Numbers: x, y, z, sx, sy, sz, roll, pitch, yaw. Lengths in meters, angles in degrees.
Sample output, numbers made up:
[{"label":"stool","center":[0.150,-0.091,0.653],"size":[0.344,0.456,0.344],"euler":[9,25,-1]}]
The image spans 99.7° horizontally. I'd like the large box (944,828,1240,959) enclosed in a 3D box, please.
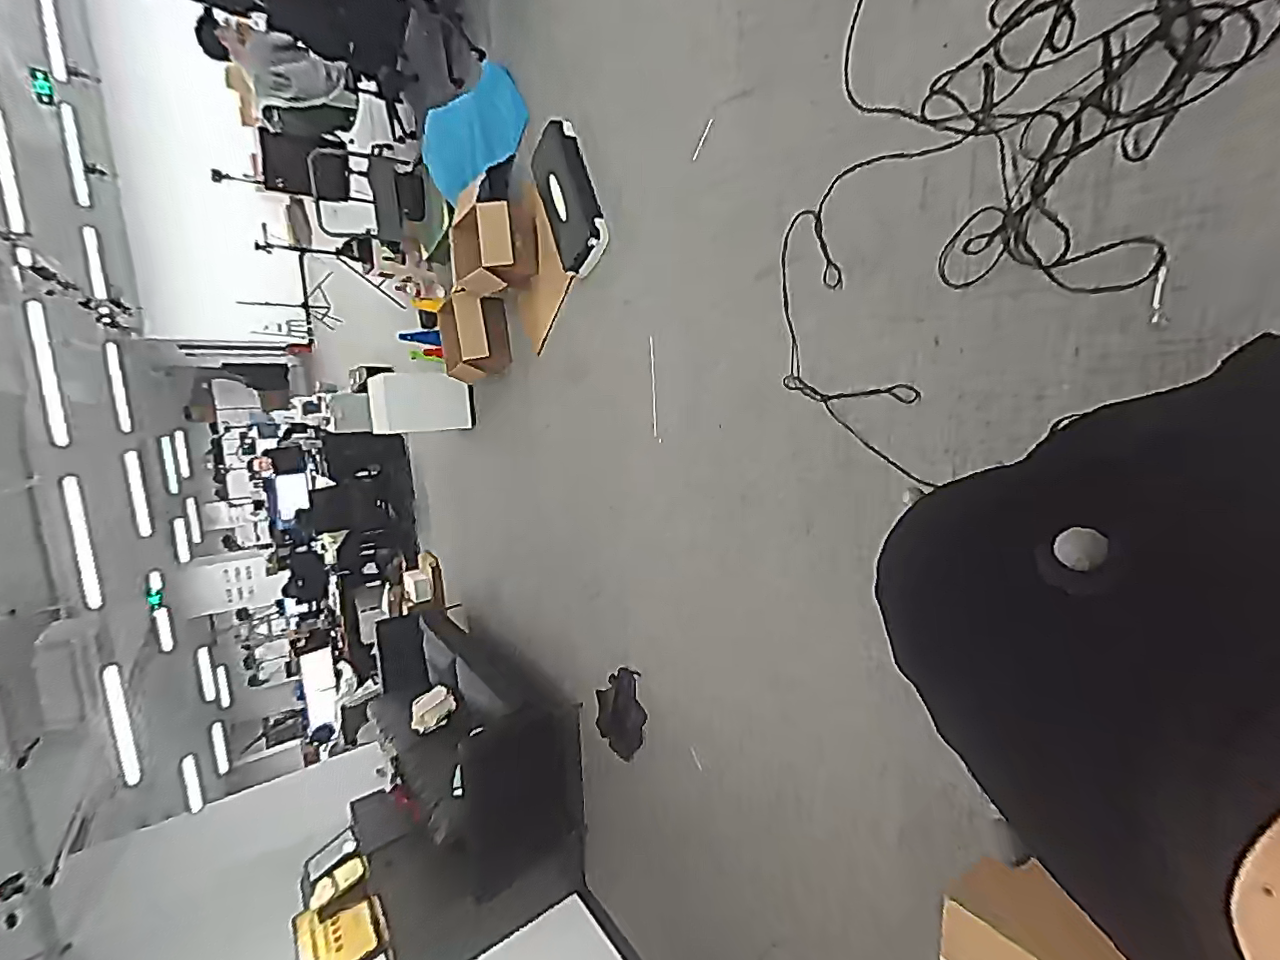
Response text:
[{"label":"large box","center":[0.909,1.040,1.116],"size":[0.408,0.320,0.320],"euler":[10,105,54]}]
